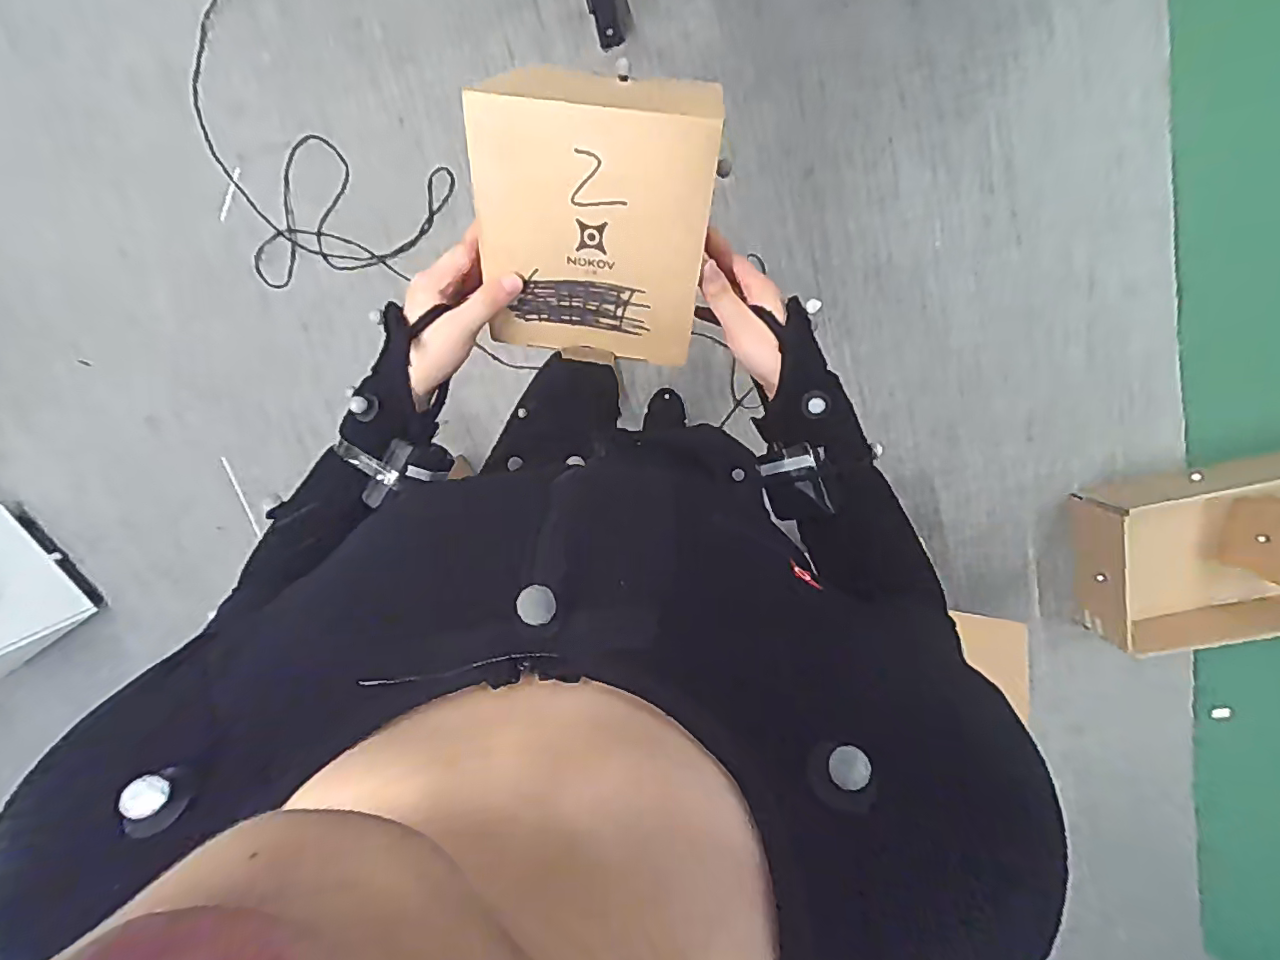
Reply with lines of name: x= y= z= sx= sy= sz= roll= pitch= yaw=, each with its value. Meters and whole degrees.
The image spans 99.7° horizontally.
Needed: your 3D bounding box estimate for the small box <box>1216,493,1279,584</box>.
small box: x=1.569 y=0.141 z=1.306 sx=0.168 sy=0.176 sz=0.179 roll=2 pitch=105 yaw=3
